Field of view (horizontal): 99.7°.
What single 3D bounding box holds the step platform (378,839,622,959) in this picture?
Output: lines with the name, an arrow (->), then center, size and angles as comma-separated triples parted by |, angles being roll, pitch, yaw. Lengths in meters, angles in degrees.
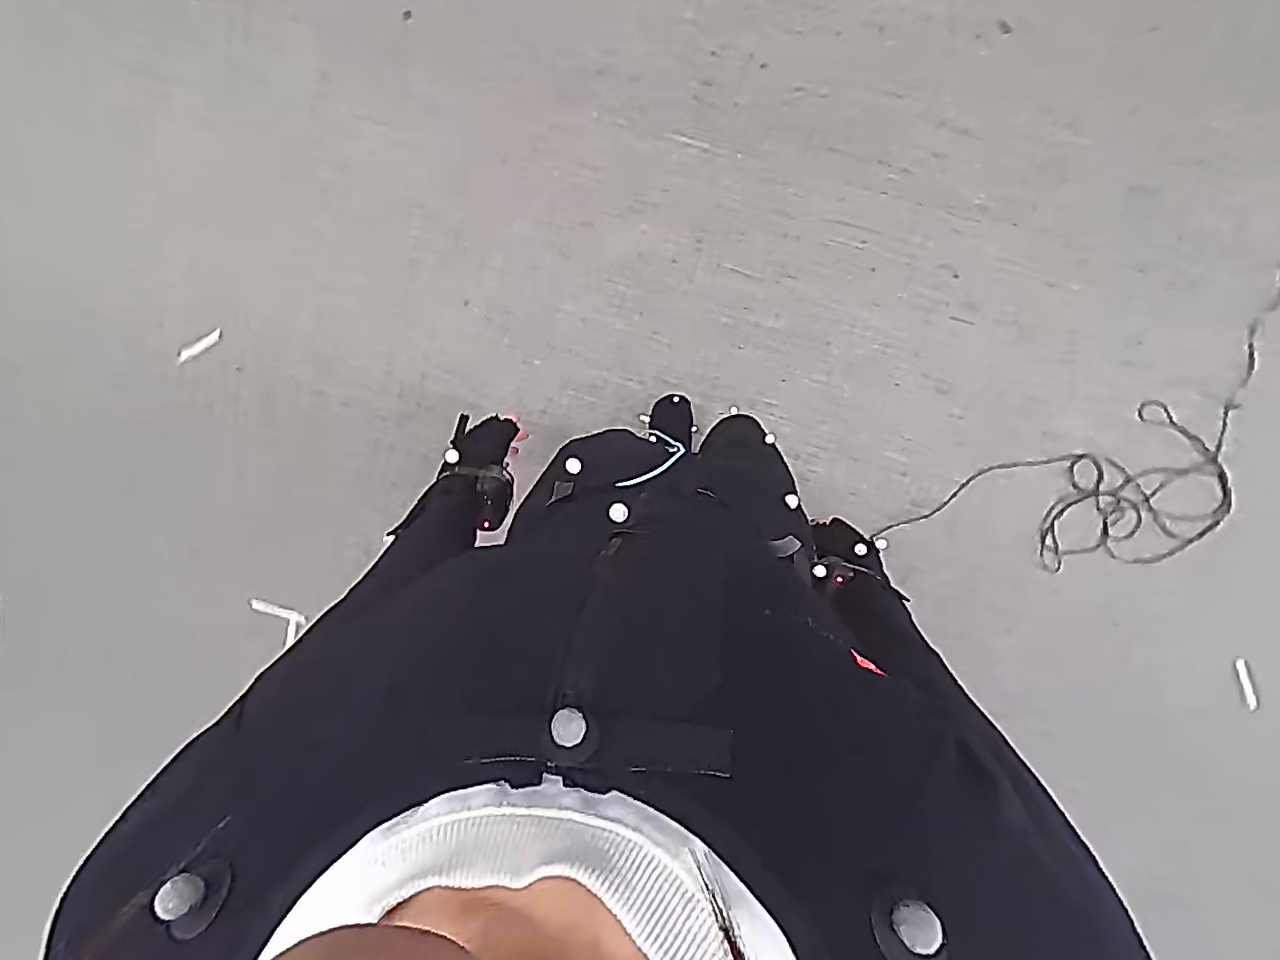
step platform -> -0.407, 1.347, 1.594 | 0.684, 0.204, 0.286 | 18, 99, 4
